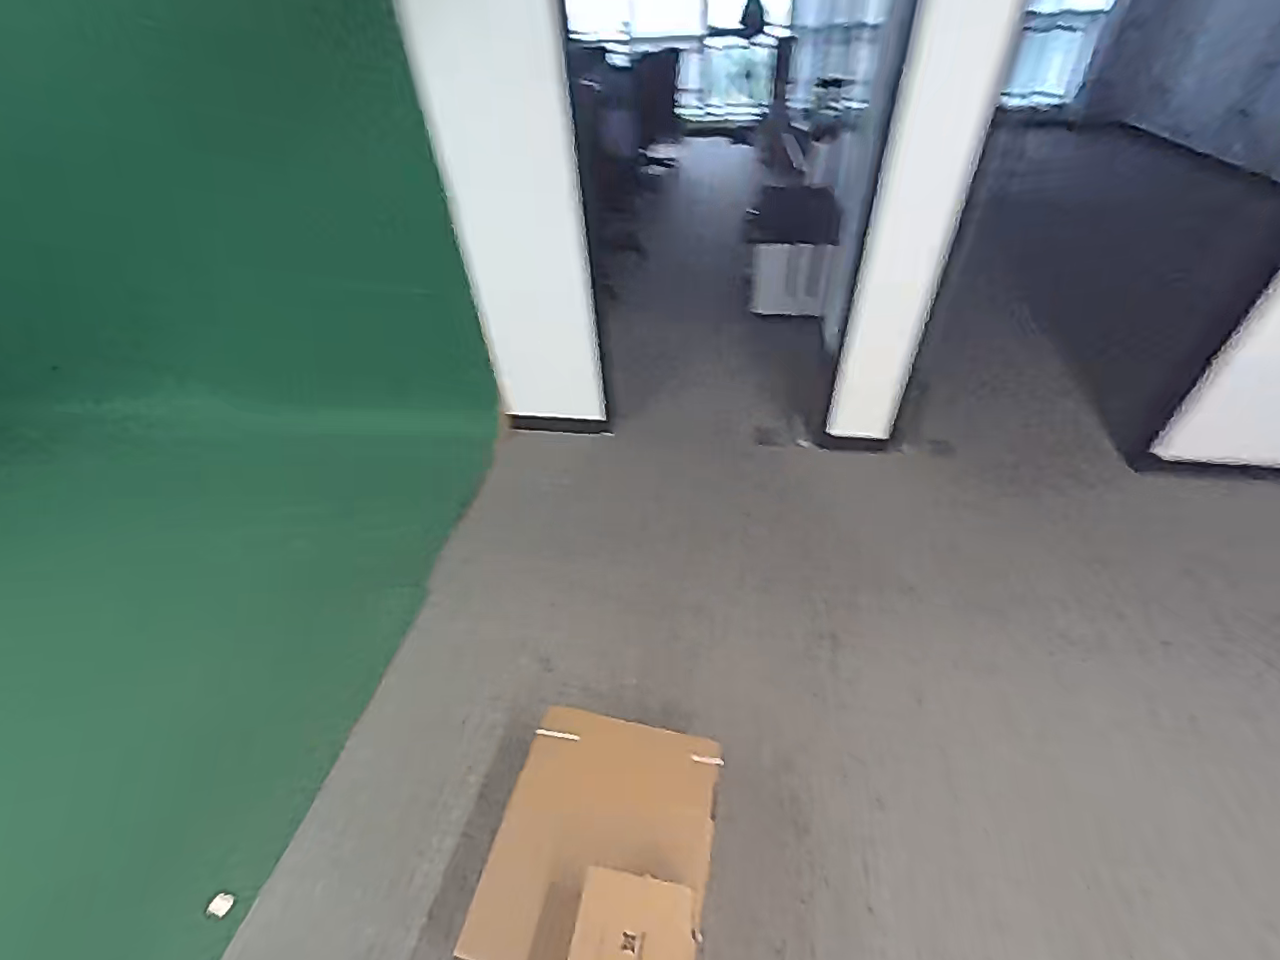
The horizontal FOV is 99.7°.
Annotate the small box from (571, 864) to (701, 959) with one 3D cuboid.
[{"bbox_3d":[-0.004,0.733,0.840,0.179,0.176,0.168,5,41,10],"label":"small box"}]
